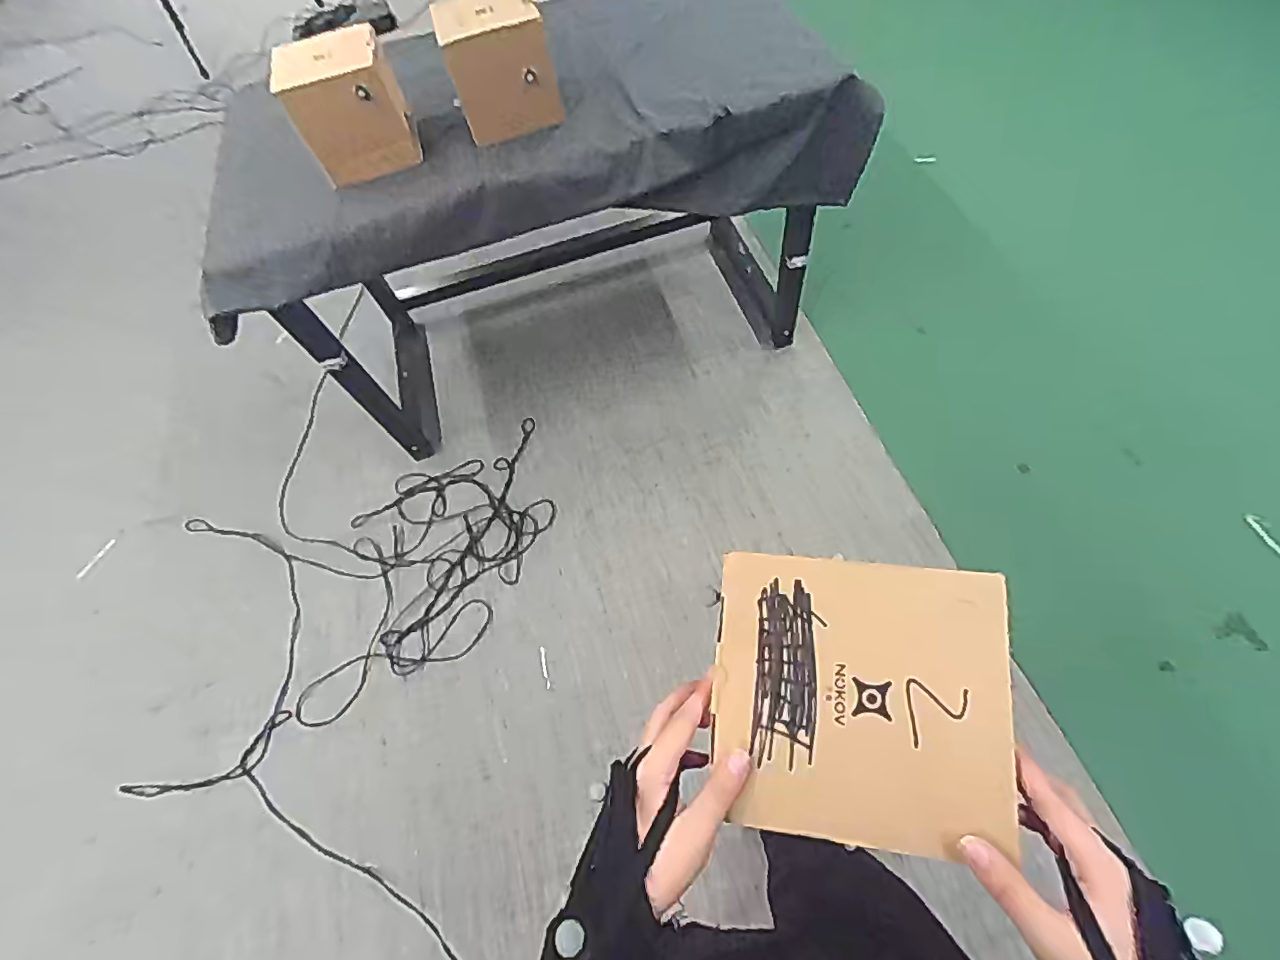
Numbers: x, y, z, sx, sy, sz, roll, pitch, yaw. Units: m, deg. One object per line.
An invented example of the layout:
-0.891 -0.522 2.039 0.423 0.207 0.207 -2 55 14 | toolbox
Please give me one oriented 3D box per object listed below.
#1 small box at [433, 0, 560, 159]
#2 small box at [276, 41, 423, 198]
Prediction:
-0.256 -0.735 0.998 0.179 0.176 0.168 -19 59 -1 | small box
-0.524 -0.652 0.991 0.179 0.176 0.168 -19 60 -3 | small box
